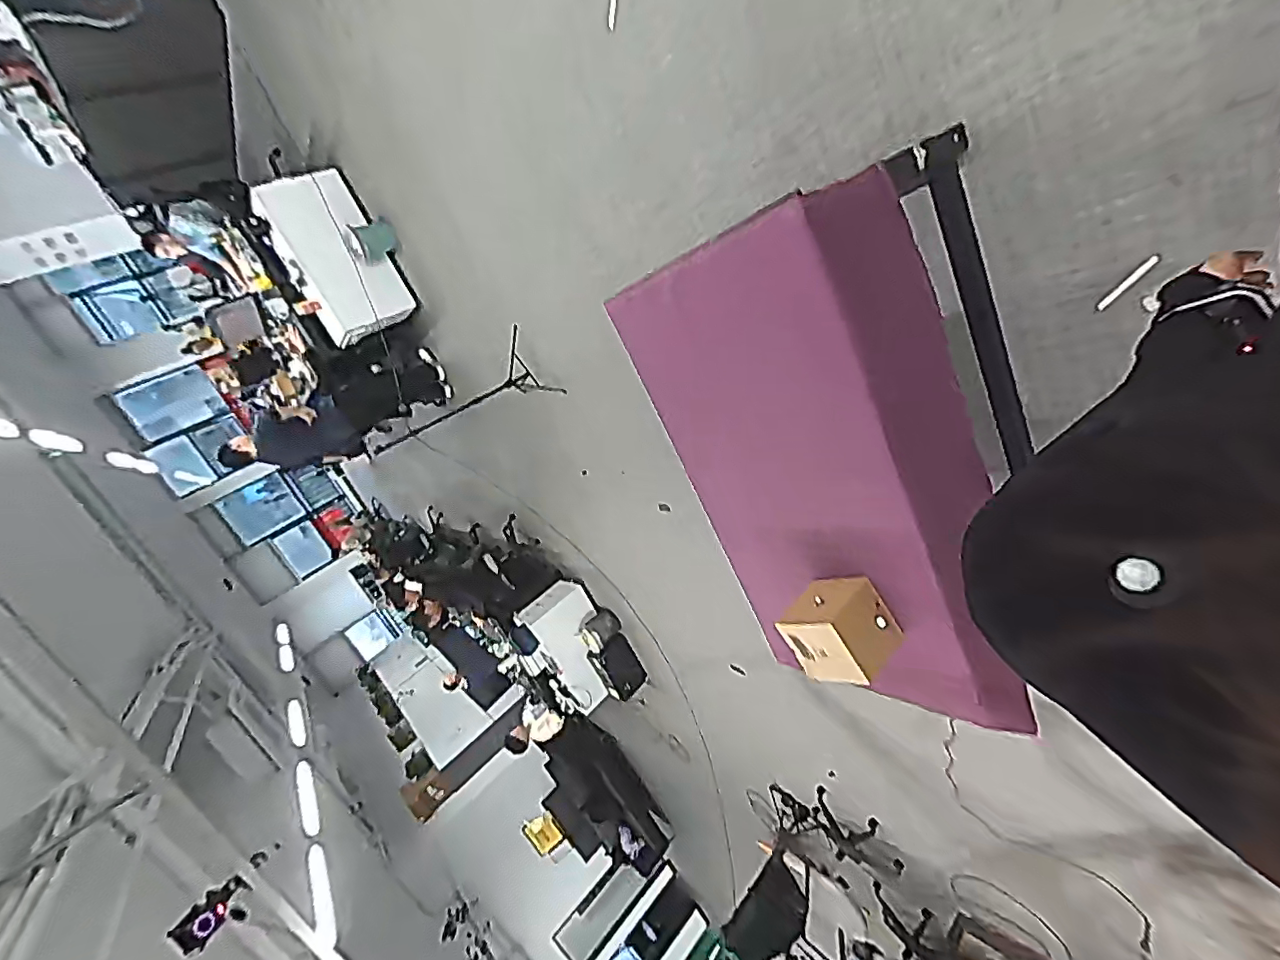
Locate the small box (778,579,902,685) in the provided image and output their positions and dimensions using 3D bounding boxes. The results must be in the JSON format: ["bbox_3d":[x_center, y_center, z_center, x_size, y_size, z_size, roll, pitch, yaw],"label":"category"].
[{"bbox_3d":[0.466,0.348,1.261,0.168,0.176,0.179,56,149,-5],"label":"small box"}]
